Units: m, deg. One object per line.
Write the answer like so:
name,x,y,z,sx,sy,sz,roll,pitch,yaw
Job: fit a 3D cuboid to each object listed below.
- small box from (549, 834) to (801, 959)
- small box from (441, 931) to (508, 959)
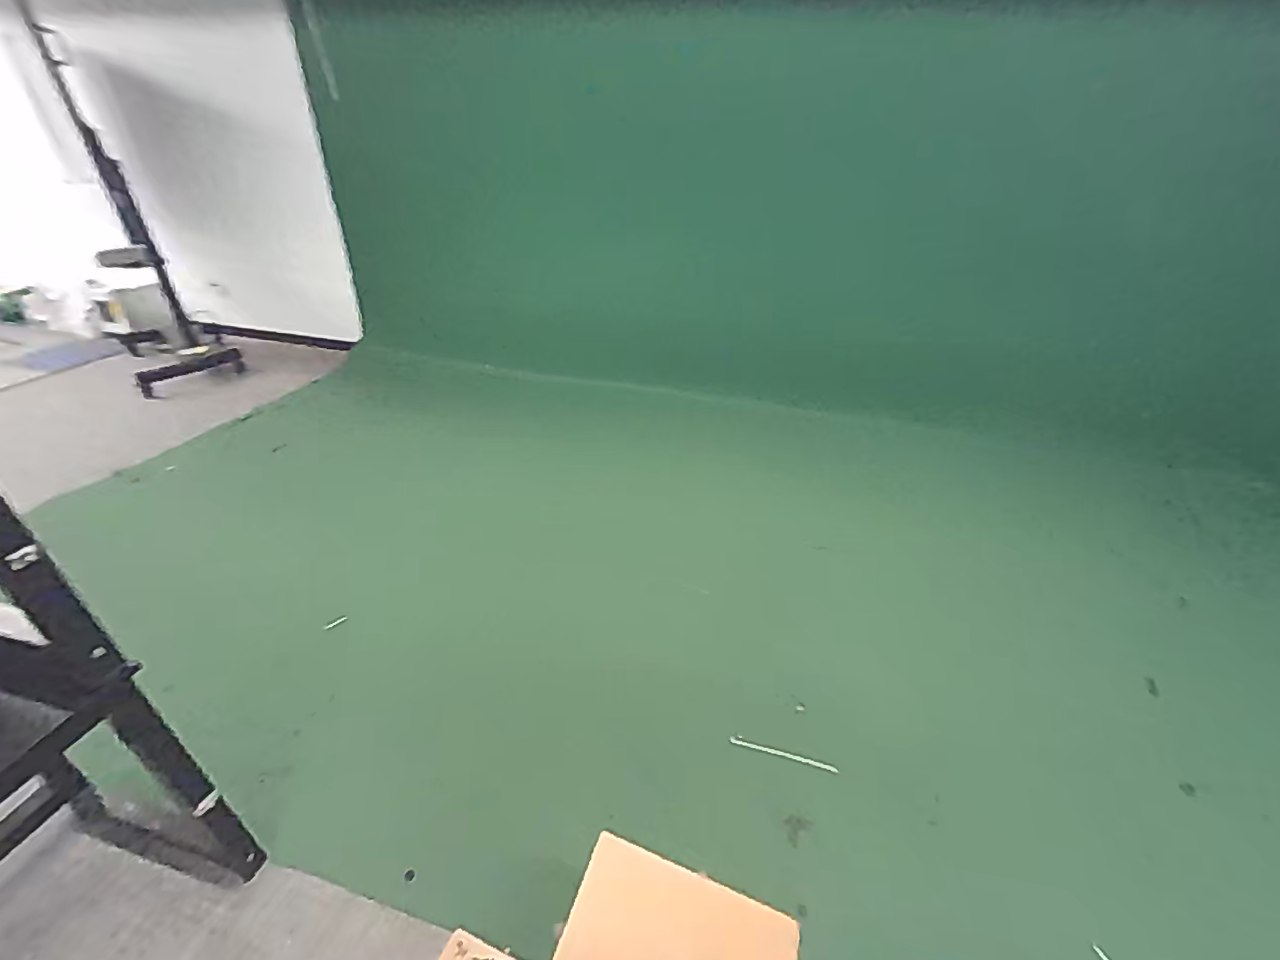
small box,0.010,0.430,0.424,0.179,0.176,0.168,17,37,12
small box,-0.286,0.938,0.923,0.168,0.176,0.179,13,35,19
